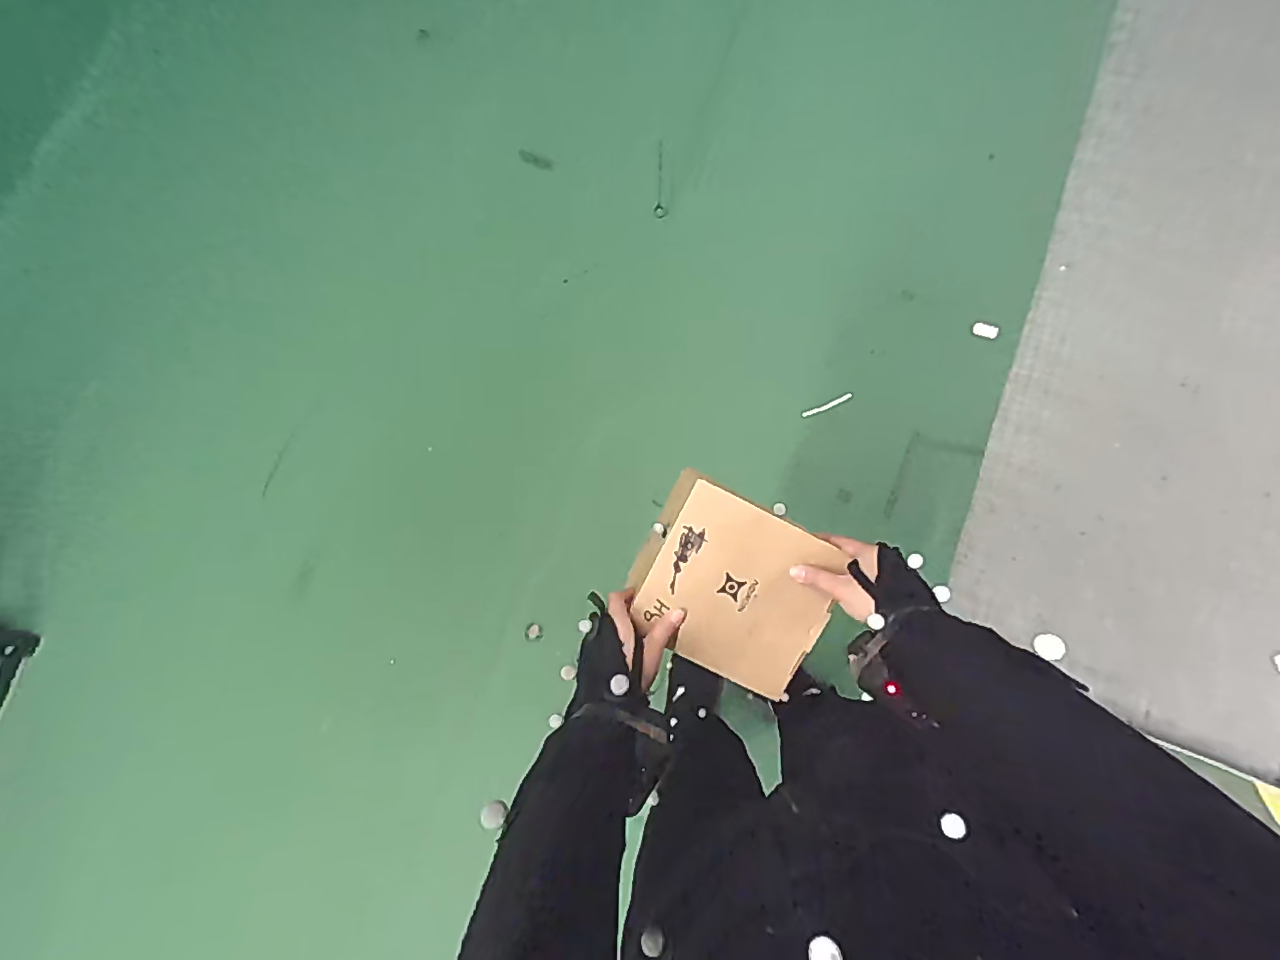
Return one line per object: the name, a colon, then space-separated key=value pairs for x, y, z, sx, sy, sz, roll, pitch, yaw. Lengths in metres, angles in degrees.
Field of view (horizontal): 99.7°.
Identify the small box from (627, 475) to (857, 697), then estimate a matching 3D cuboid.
small box: x=0.100 y=0.101 z=0.609 sx=0.179 sy=0.176 sz=0.168 roll=28 pitch=93 yaw=-2
